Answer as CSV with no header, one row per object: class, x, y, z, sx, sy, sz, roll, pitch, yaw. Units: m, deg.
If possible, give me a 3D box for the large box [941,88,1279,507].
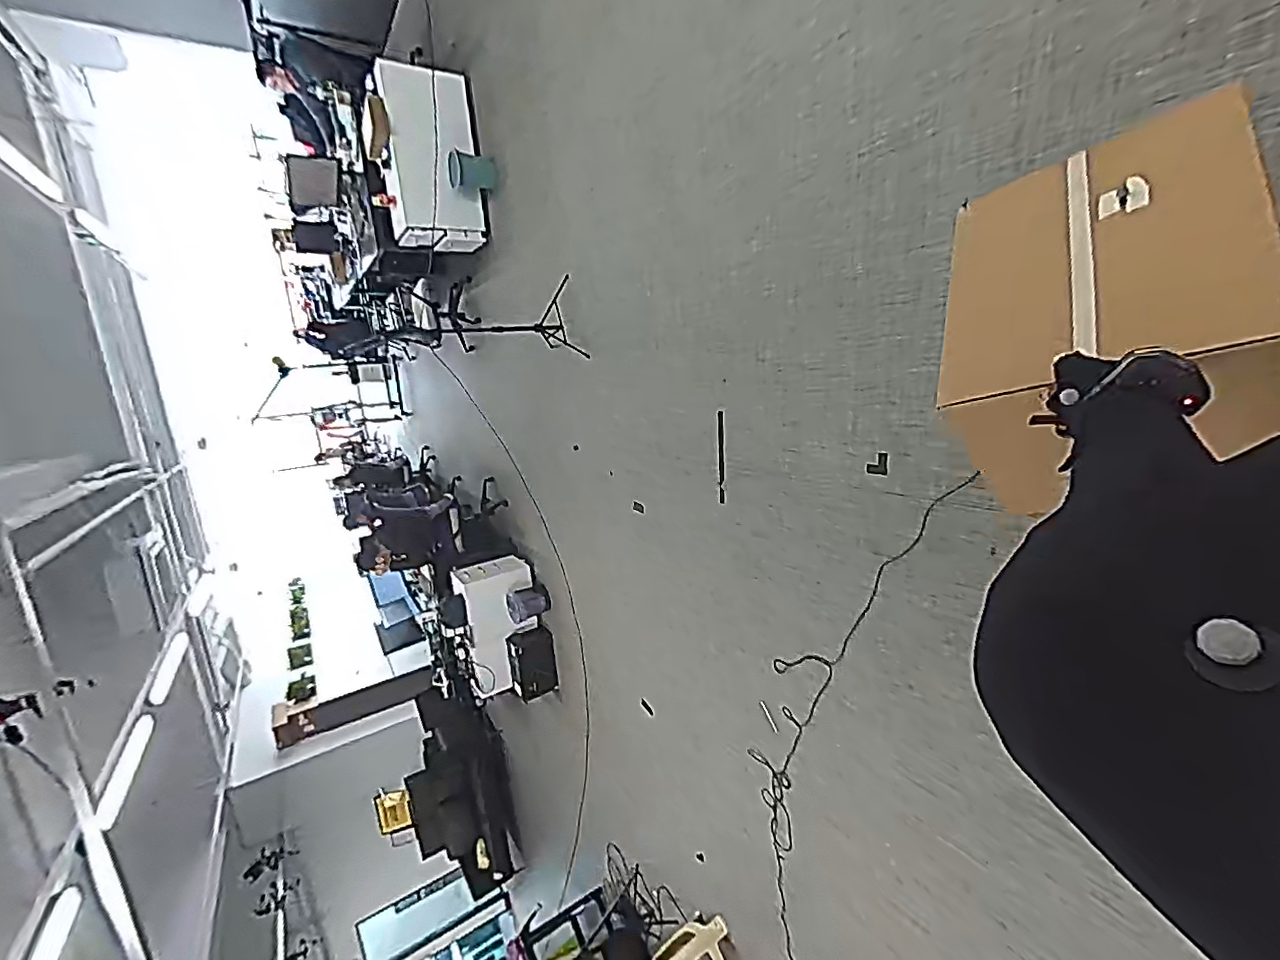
large box,0.666,-0.215,0.765,0.320,0.320,0.408,-9,52,49
